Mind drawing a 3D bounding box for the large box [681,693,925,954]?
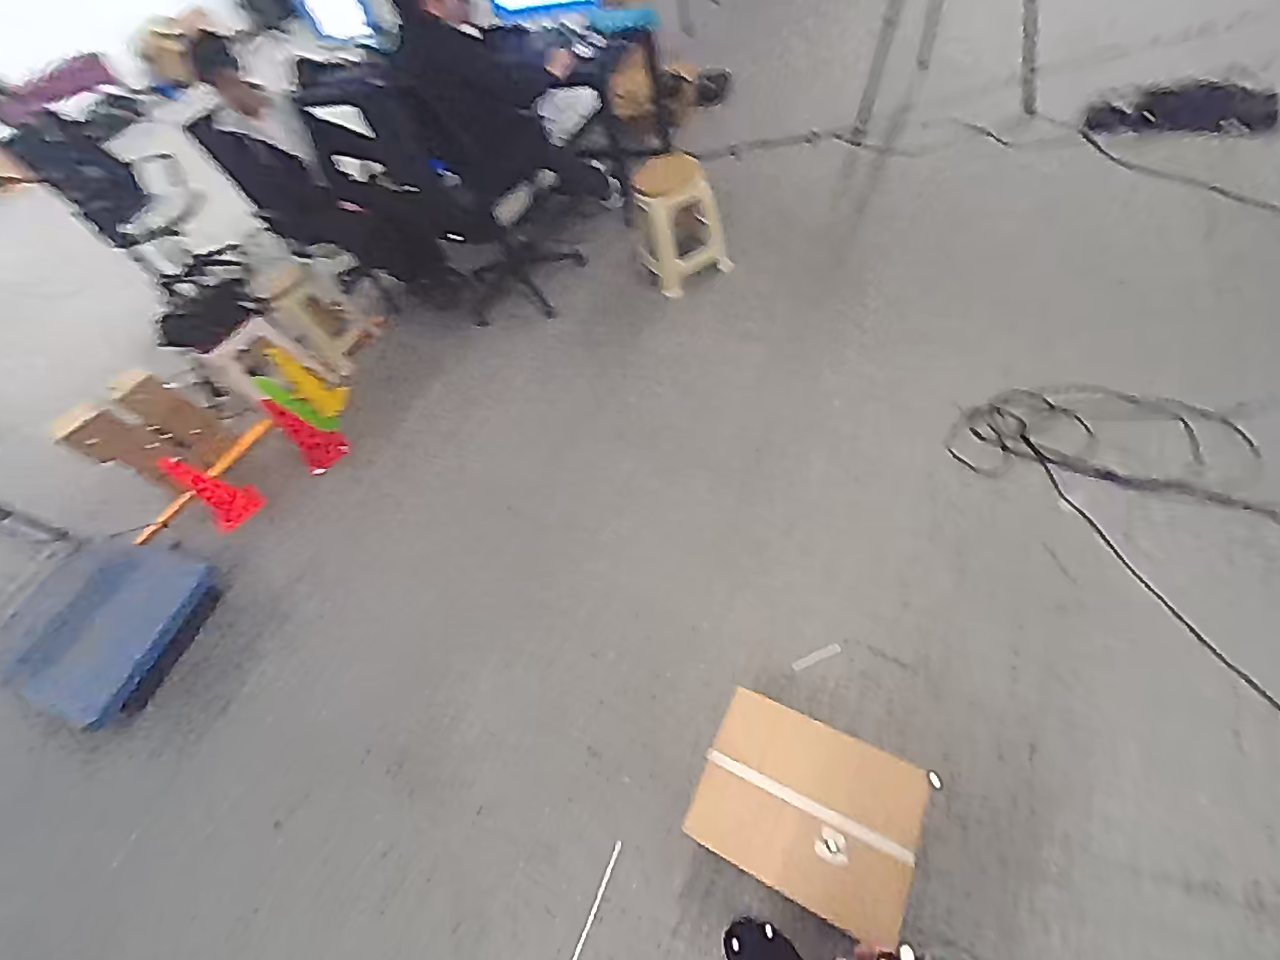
[{"bbox_3d":[0.344,0.728,1.184,0.408,0.320,0.320,17,61,24],"label":"large box"}]
